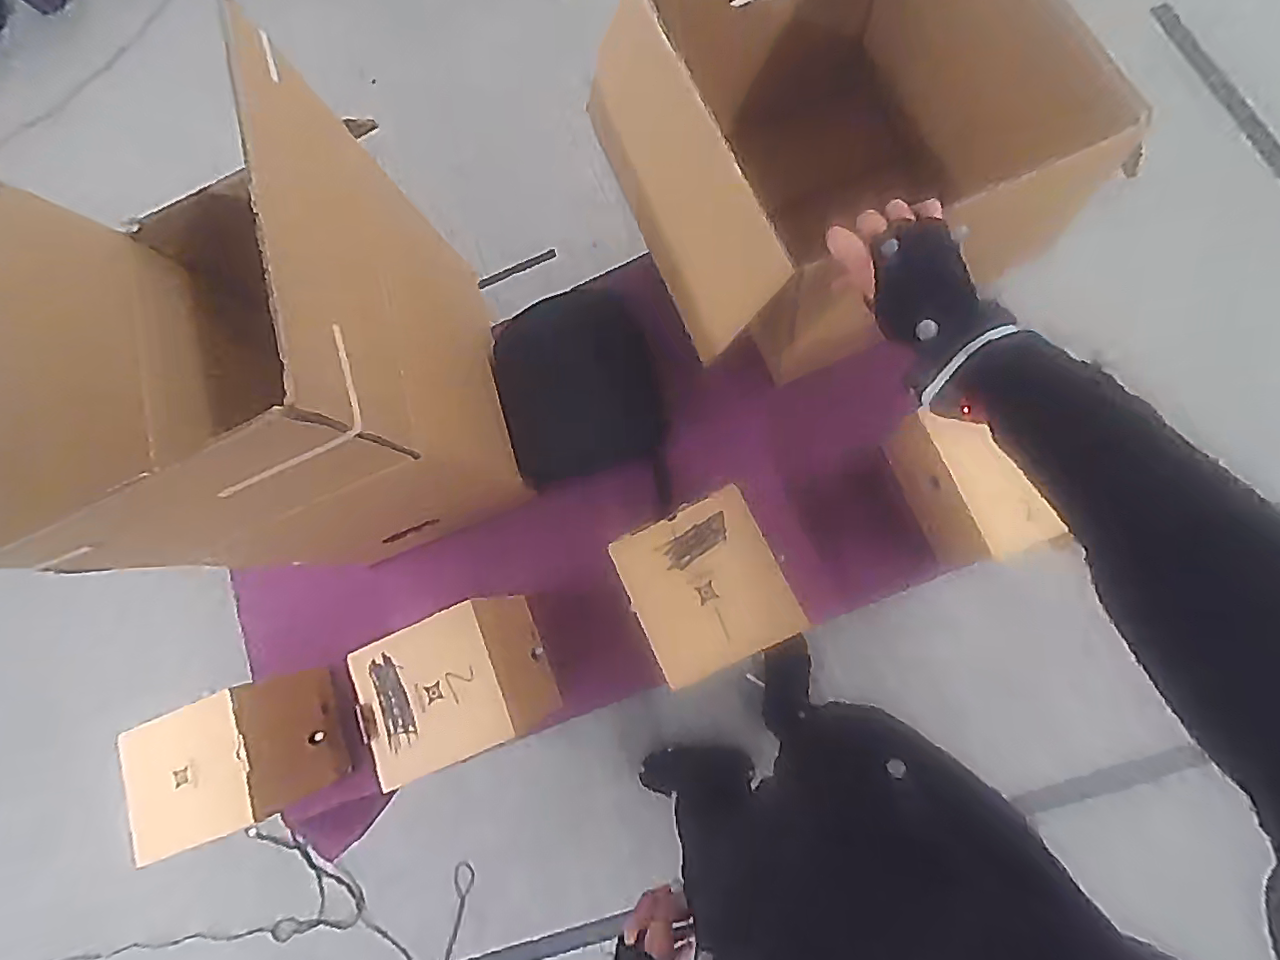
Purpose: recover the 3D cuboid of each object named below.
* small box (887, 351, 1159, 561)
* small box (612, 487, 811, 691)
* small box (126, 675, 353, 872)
[{"bbox_3d":[0.414,-0.014,0.628,0.168,0.176,0.179,-23,76,8],"label":"small box"},{"bbox_3d":[0.087,0.131,0.669,0.168,0.176,0.179,-27,77,6],"label":"small box"},{"bbox_3d":[-0.542,0.389,0.747,0.179,0.176,0.168,-23,76,5],"label":"small box"}]
